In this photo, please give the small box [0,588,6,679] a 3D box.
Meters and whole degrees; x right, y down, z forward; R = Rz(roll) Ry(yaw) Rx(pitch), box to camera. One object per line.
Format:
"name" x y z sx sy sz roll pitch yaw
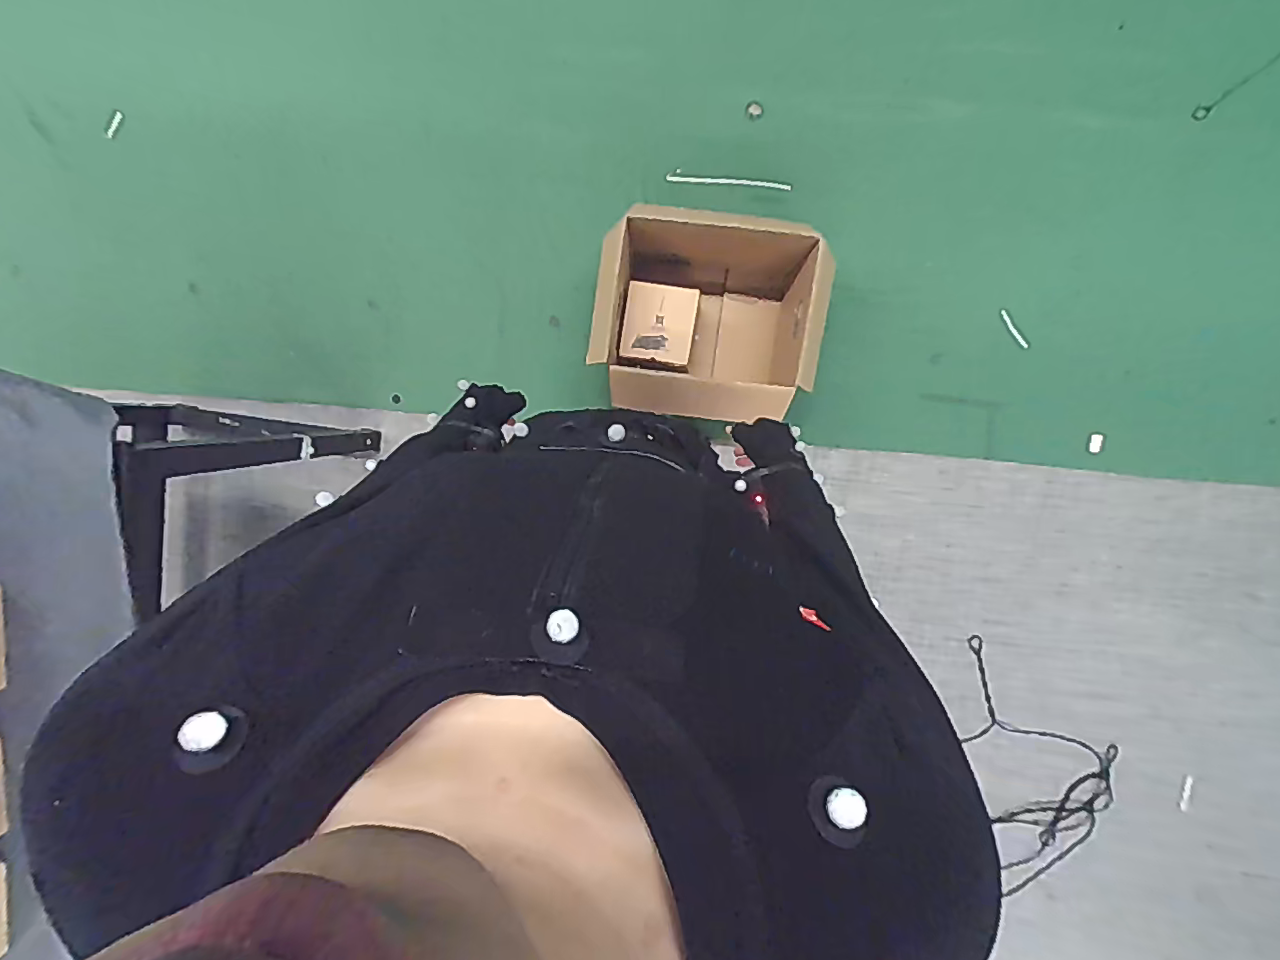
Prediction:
"small box" -1.028 0.228 0.722 0.179 0.176 0.168 6 97 2
